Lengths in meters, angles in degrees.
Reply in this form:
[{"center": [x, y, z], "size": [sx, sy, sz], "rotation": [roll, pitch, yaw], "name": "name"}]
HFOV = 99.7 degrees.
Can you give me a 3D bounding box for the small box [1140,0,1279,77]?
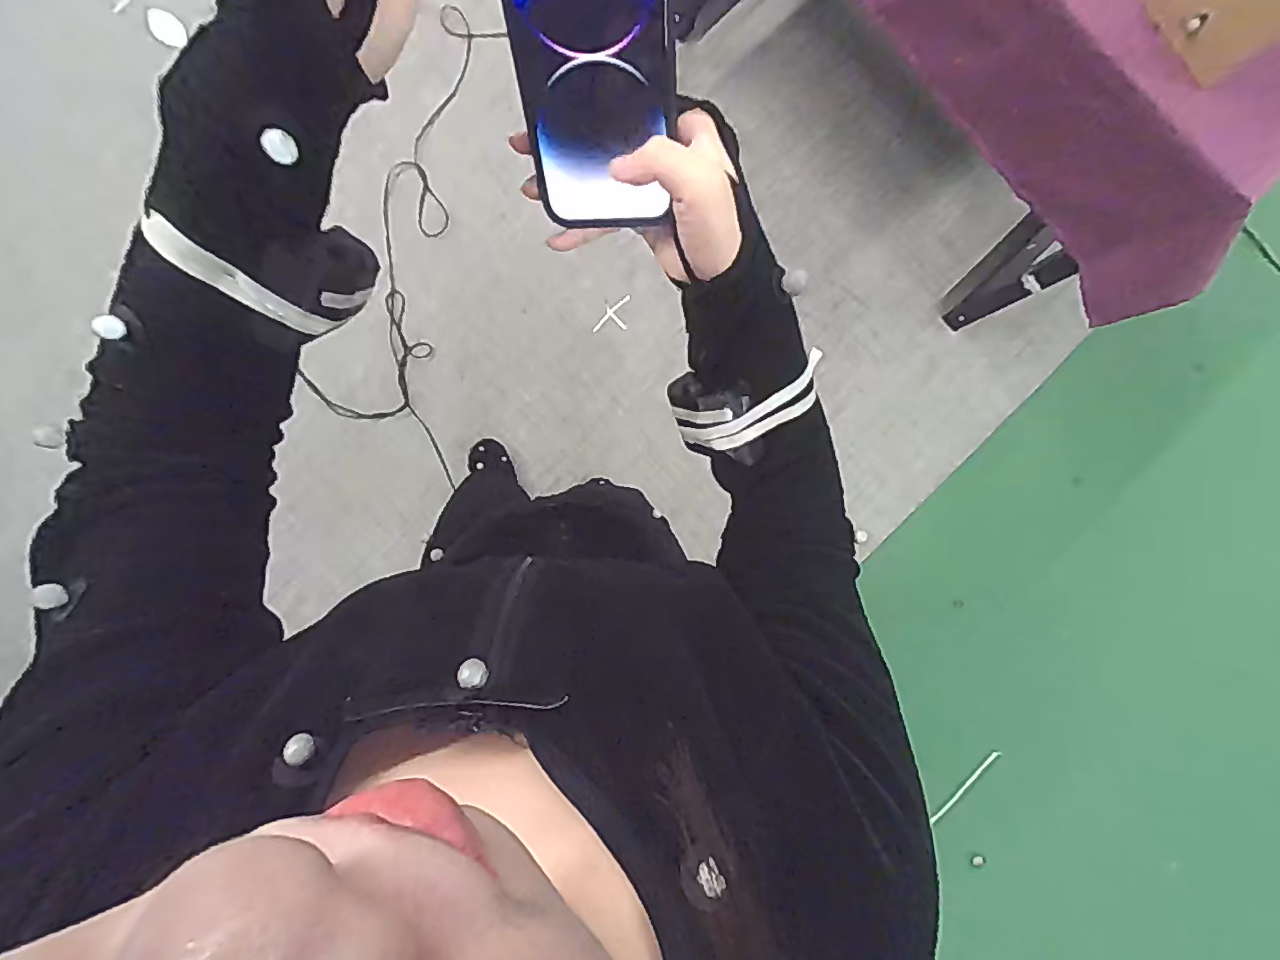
[{"center": [0.860, -0.700, 0.734], "size": [0.168, 0.176, 0.179], "rotation": [-37, 91, -3], "name": "small box"}]
